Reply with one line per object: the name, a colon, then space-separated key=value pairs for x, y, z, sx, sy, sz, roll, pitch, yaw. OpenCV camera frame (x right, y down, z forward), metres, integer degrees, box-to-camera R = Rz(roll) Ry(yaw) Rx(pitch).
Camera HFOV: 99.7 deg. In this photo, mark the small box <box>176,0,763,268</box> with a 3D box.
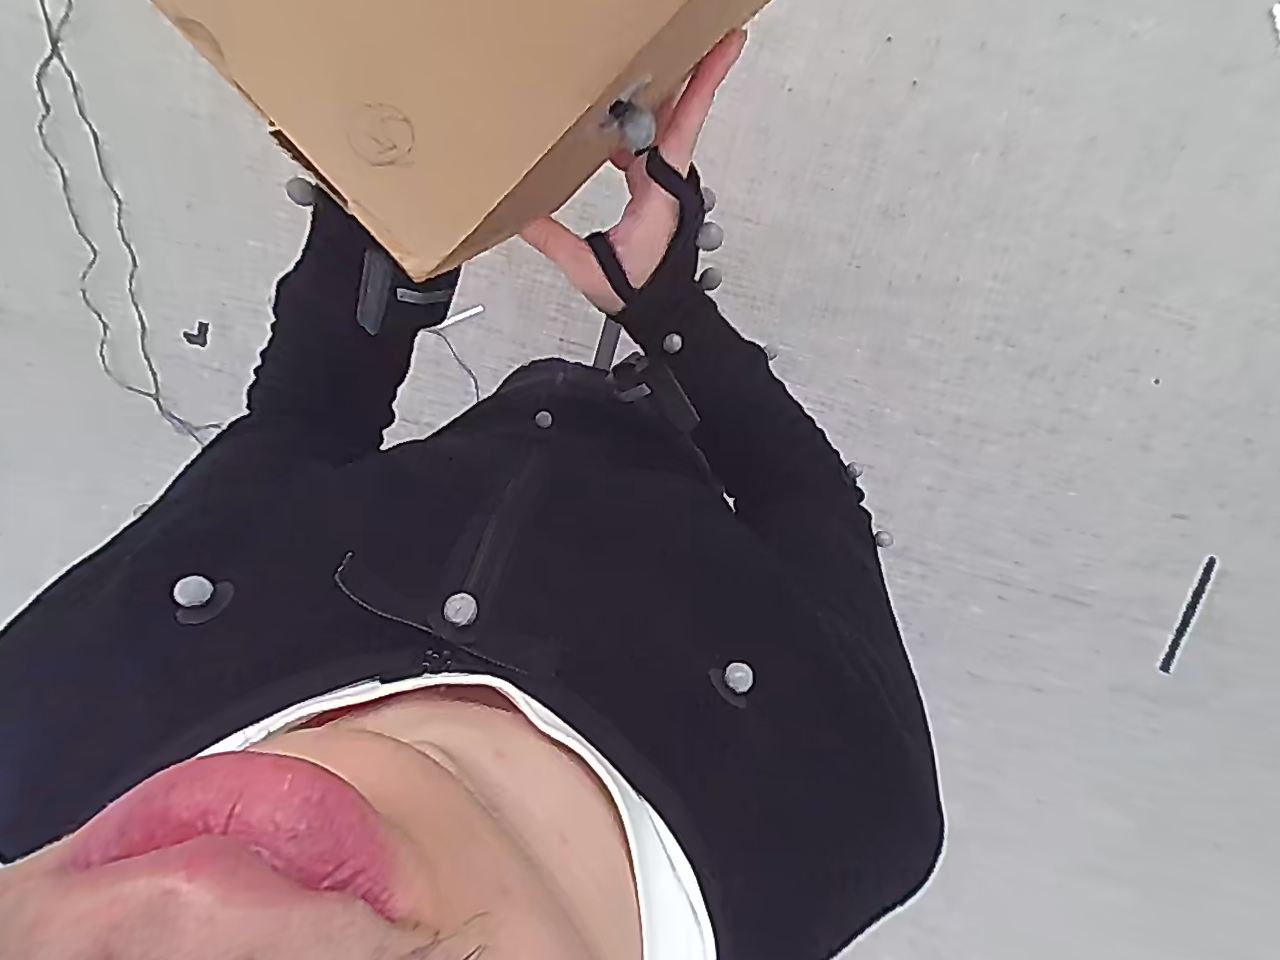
small box: x=-0.048 y=-0.213 z=0.192 sx=0.179 sy=0.176 sz=0.168 roll=-32 pitch=114 yaw=27
